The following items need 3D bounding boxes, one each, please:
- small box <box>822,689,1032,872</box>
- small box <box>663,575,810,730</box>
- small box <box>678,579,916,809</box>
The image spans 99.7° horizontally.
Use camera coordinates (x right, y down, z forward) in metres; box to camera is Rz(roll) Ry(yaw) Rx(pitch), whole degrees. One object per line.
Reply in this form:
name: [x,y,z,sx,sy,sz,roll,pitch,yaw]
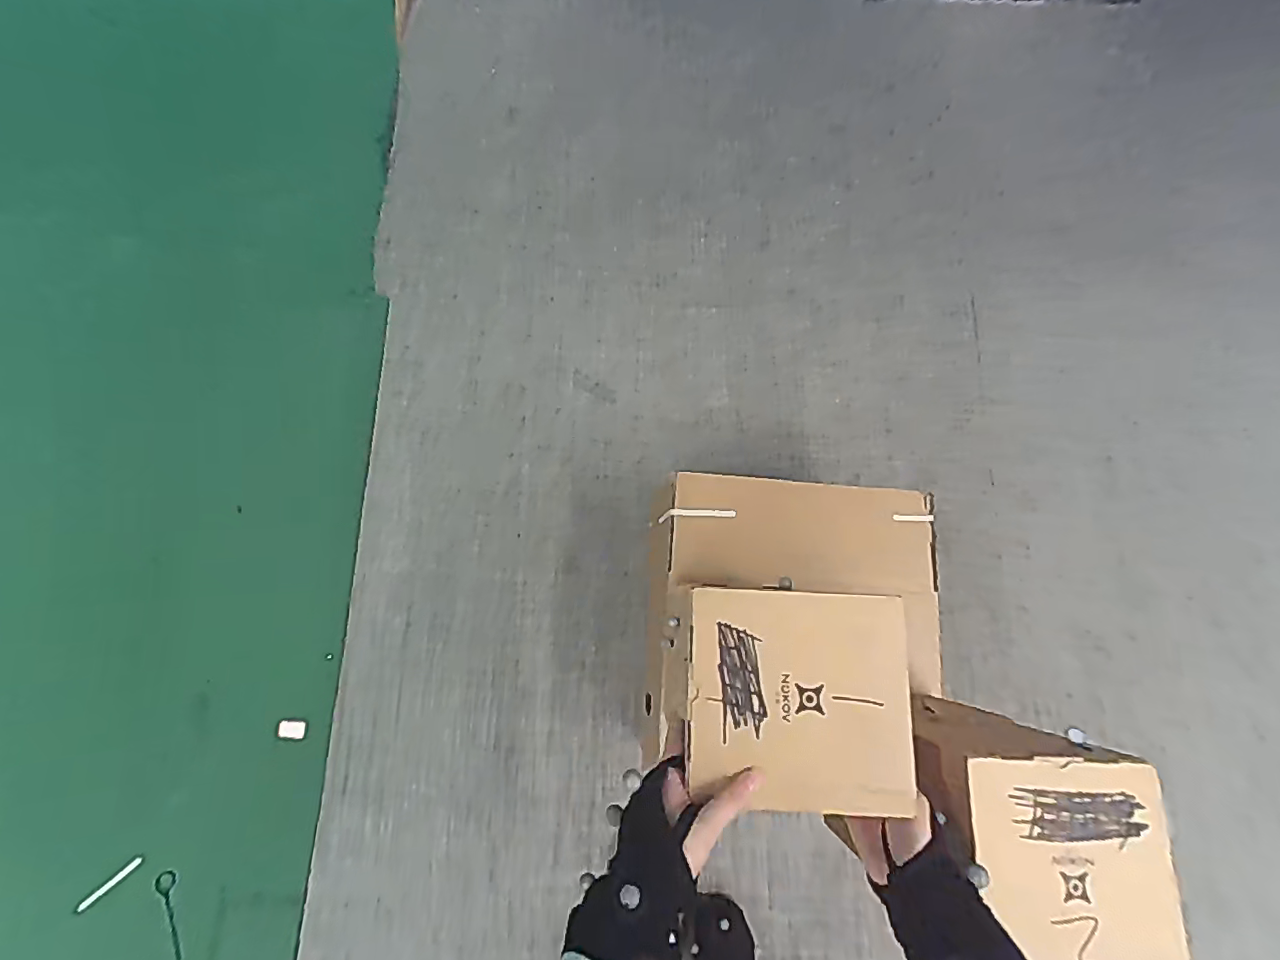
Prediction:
small box: [0.338,0.358,0.677,0.179,0.176,0.168,2,76,-2]
small box: [0.119,0.223,0.701,0.168,0.176,0.179,3,76,-1]
small box: [0.128,0.184,0.506,0.179,0.176,0.168,2,77,0]
